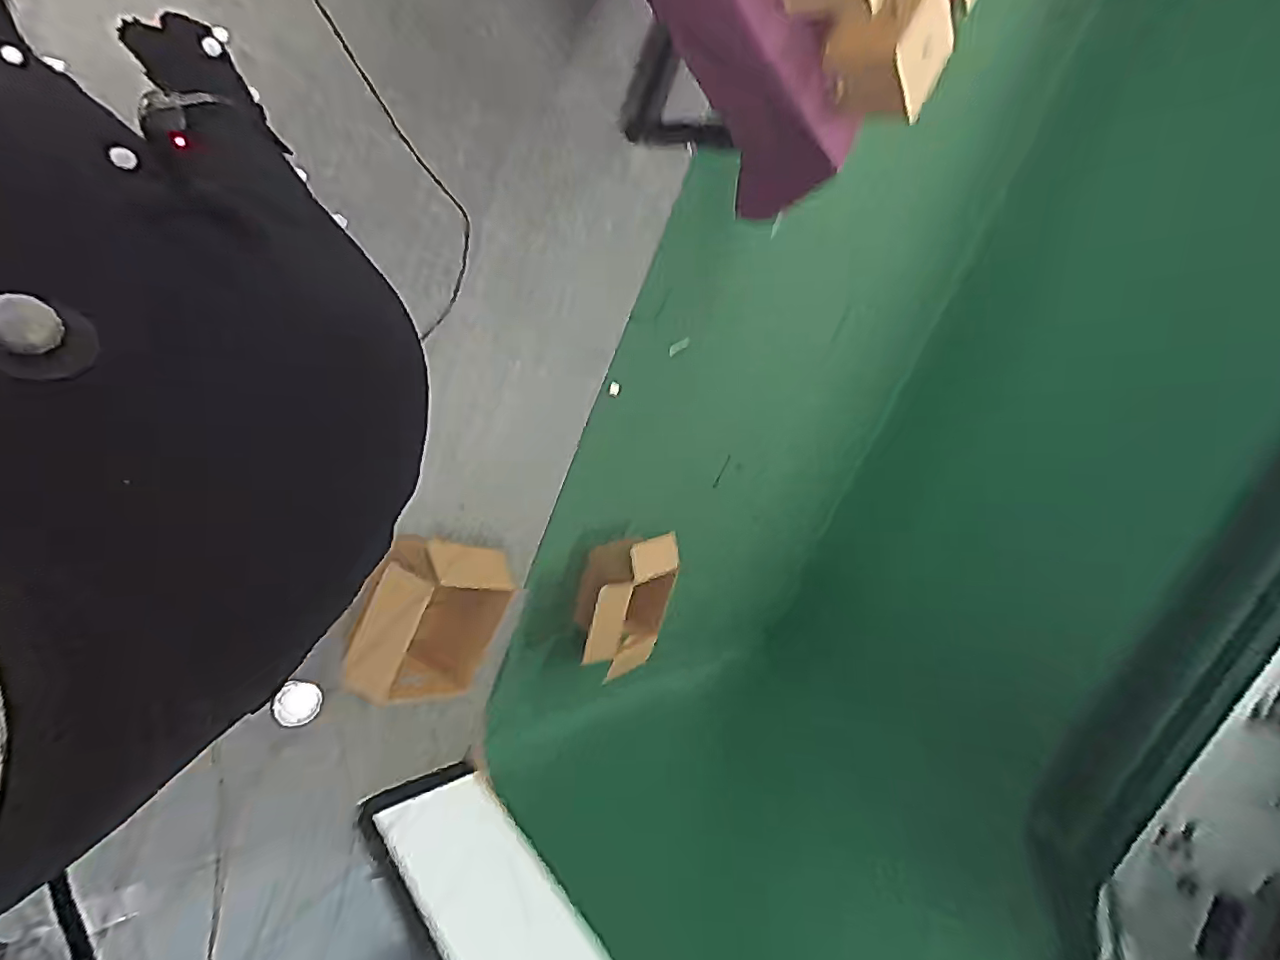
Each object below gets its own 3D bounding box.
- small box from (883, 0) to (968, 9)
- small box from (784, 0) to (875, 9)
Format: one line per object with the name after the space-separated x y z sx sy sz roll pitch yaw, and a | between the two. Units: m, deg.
0.579 -1.063 1.039 0.168 0.176 0.179 18 101 -53 | small box
0.311 -0.893 0.849 0.168 0.176 0.179 14 105 -53 | small box
